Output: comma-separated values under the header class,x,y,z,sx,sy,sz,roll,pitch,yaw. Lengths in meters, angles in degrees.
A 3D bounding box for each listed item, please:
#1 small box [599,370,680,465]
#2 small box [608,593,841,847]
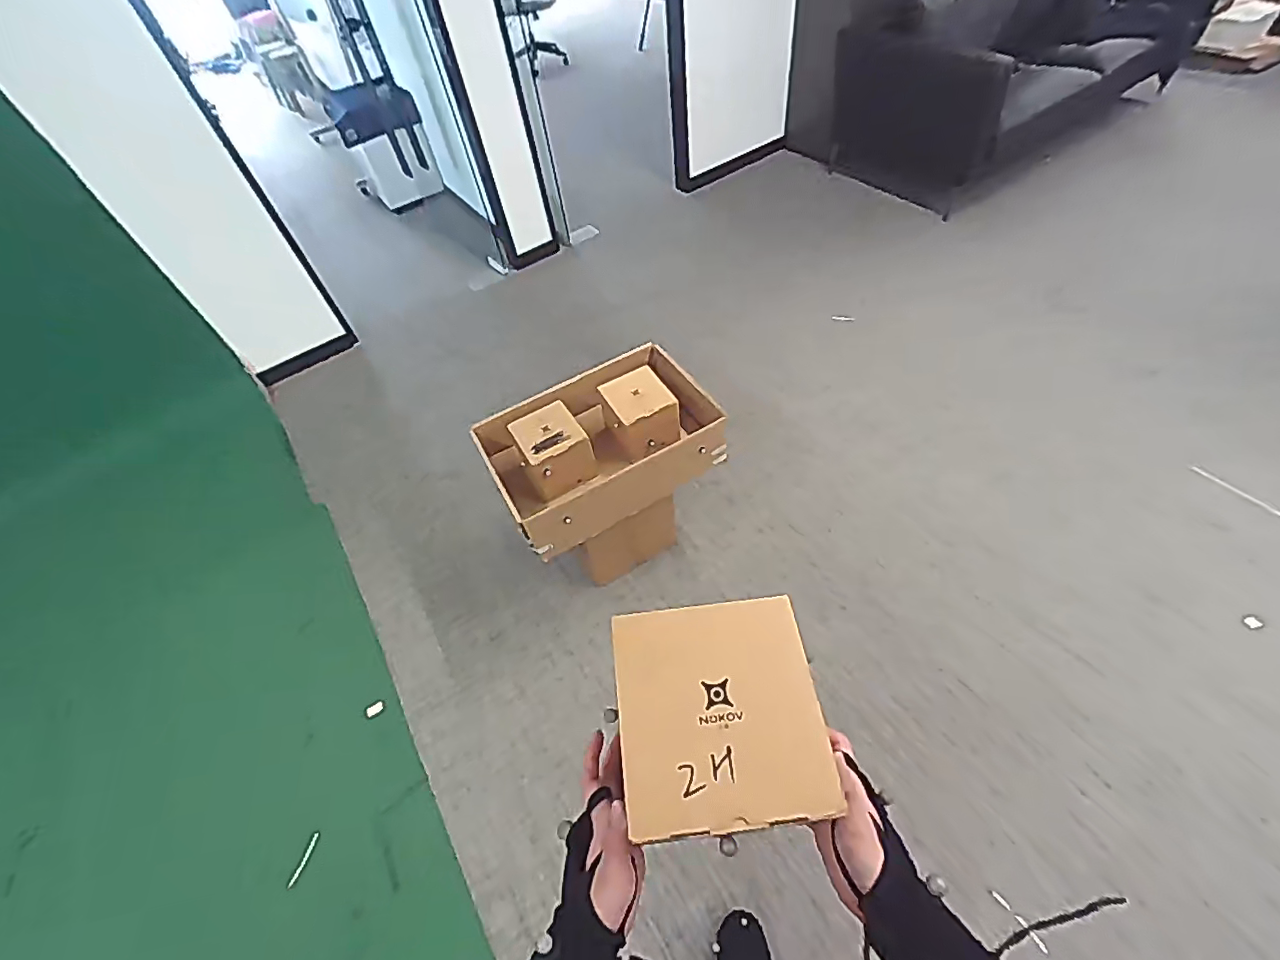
class,x,y,z,sx,sy,sz,roll,pitch,yaw
small box,0.000,-0.175,1.540,0.168,0.176,0.179,-26,54,-13
small box,0.061,0.225,0.500,0.168,0.176,0.179,-6,55,0
